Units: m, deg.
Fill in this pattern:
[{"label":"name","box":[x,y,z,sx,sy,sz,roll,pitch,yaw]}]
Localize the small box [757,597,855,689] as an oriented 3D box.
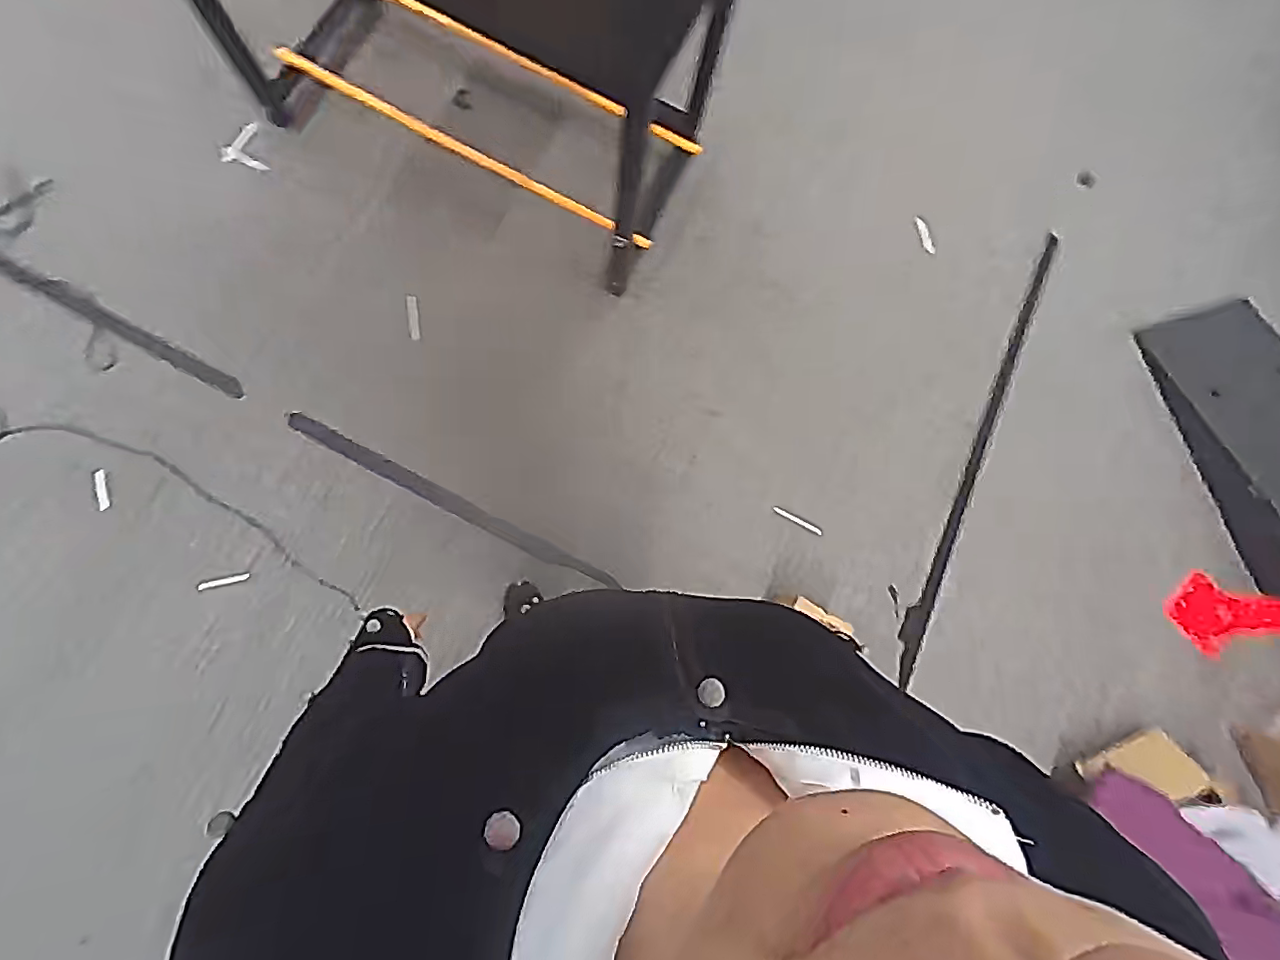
[{"label":"small box","box":[0.435,0.425,1.447,0.168,0.176,0.179,30,79,0]}]
